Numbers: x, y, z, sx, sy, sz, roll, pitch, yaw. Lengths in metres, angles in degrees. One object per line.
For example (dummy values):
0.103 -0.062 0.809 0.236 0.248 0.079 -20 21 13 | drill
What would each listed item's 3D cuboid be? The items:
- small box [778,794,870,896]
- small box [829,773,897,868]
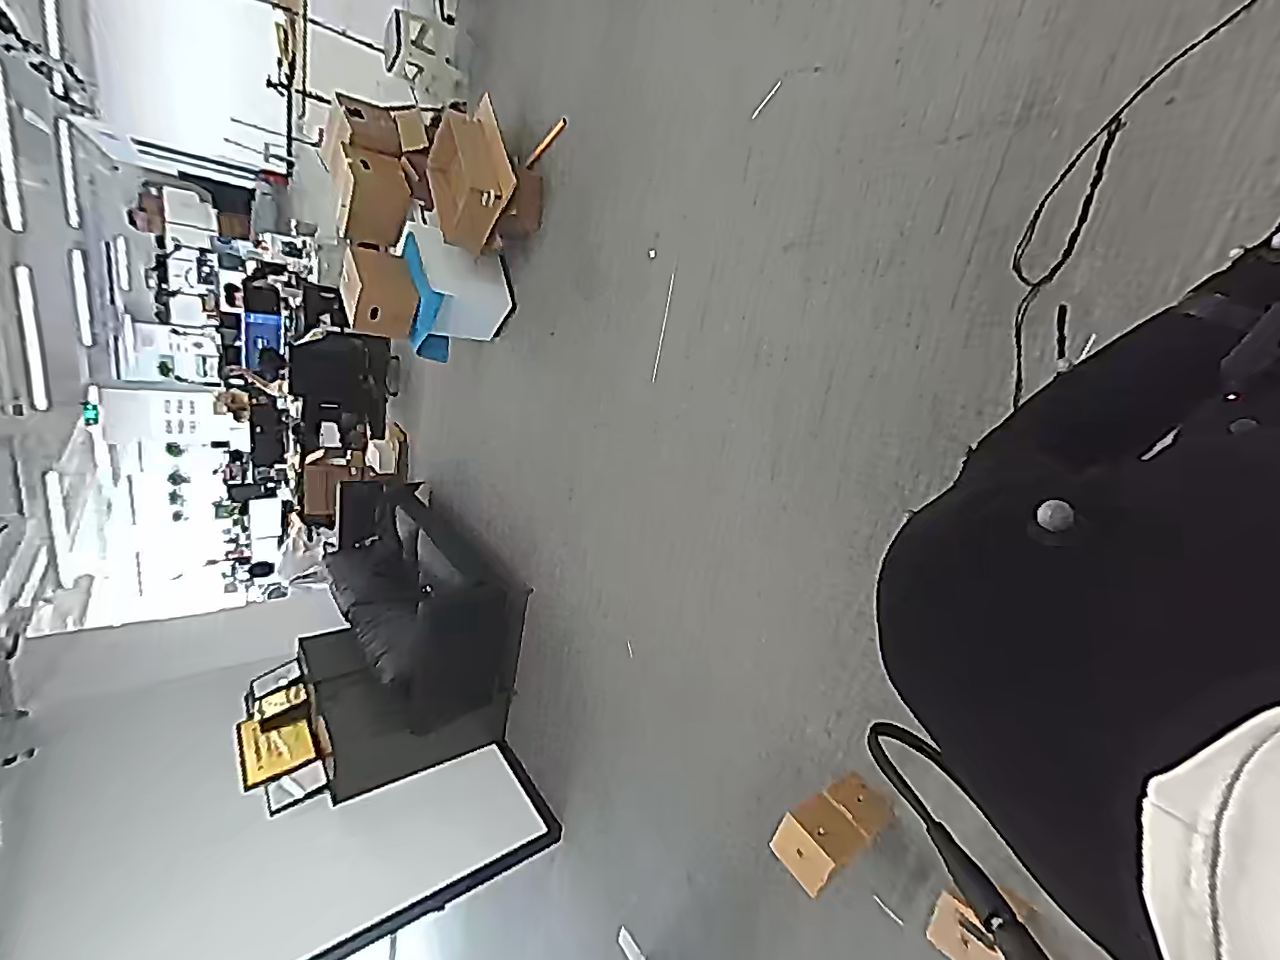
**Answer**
0.561 1.097 1.648 0.179 0.176 0.168 37 120 42 | small box
0.695 1.086 1.740 0.168 0.176 0.179 40 121 43 | small box
